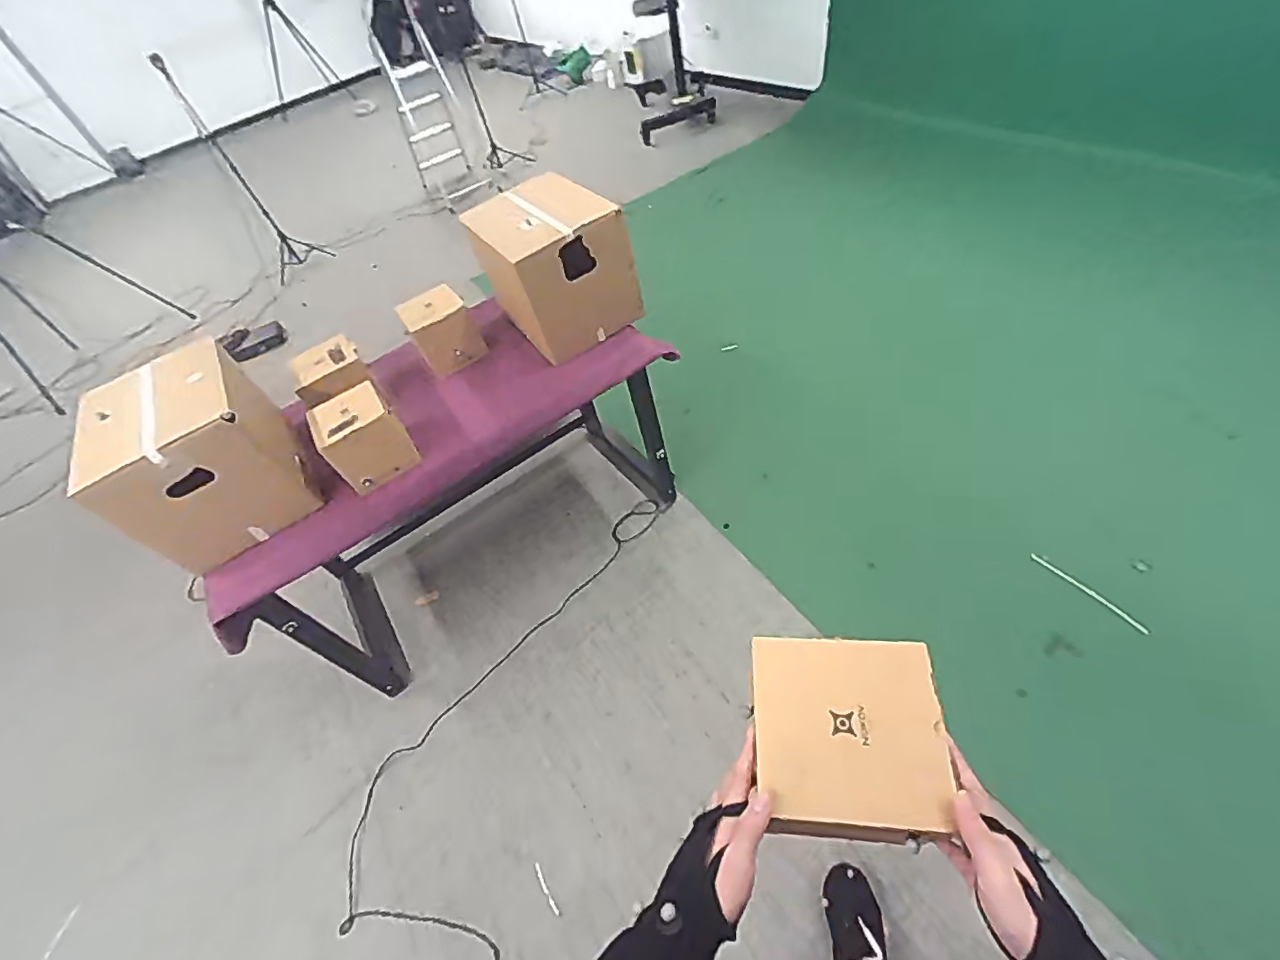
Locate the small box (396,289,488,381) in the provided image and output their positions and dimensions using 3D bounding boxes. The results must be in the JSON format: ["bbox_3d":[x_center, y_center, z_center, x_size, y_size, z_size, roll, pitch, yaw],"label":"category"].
[{"bbox_3d":[-0.569,-0.415,1.560,0.168,0.176,0.179,-33,51,-14],"label":"small box"}]

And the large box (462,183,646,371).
[{"bbox_3d":[-0.237,-0.577,1.524,0.320,0.320,0.408,-33,51,-12],"label":"large box"}]

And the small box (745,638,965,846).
[{"bbox_3d":[0.202,0.279,0.571,0.179,0.176,0.168,-1,53,8],"label":"small box"}]
